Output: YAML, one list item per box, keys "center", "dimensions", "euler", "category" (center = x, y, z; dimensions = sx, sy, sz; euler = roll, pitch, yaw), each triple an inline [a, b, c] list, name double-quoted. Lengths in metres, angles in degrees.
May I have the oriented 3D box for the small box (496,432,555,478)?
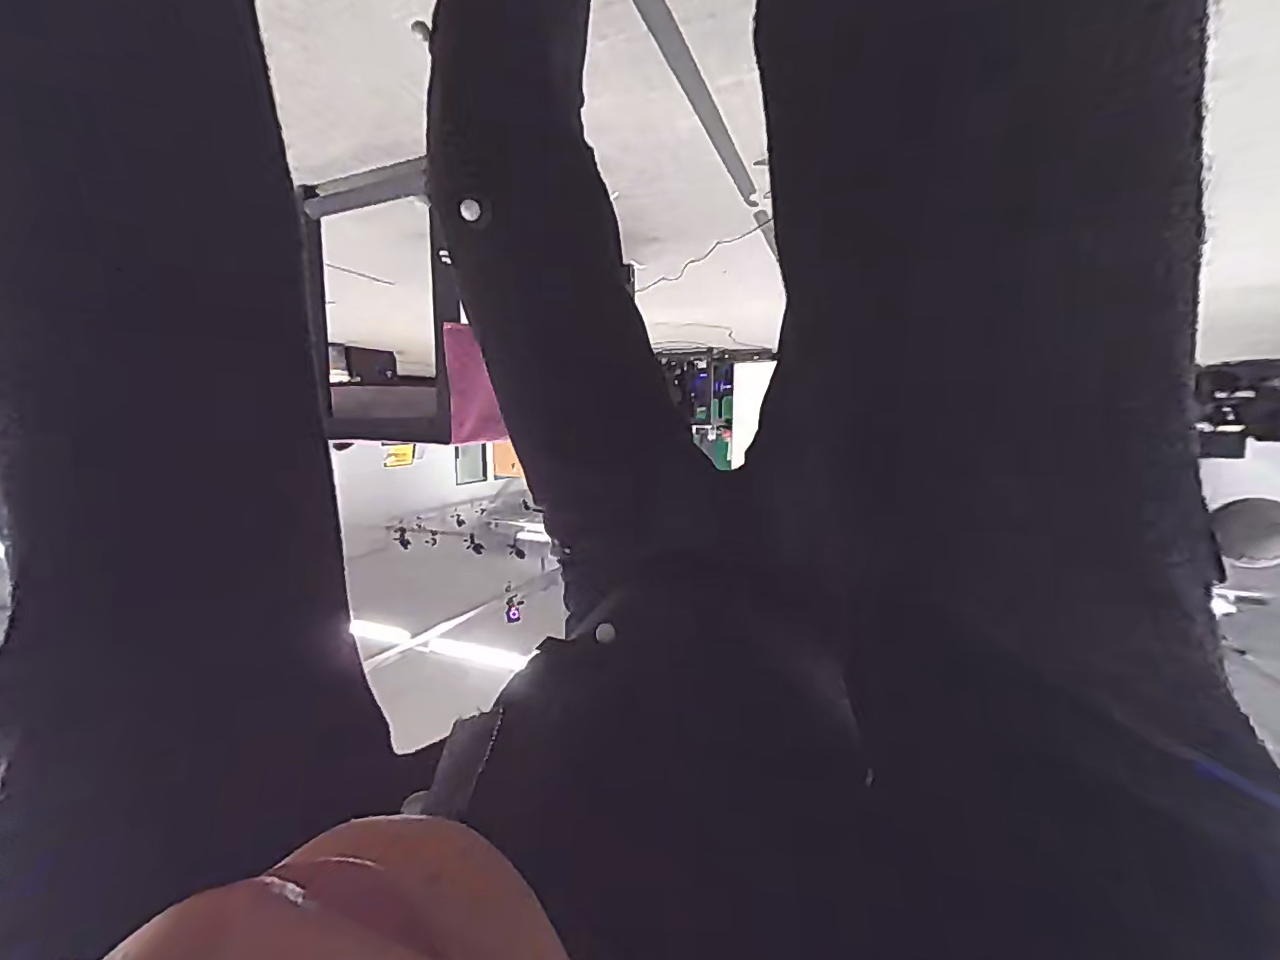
- center: [-0.454, -0.101, 2.139]
  dimensions: [0.179, 0.176, 0.168]
  euler: [3, -173, 26]
  category: "small box"
